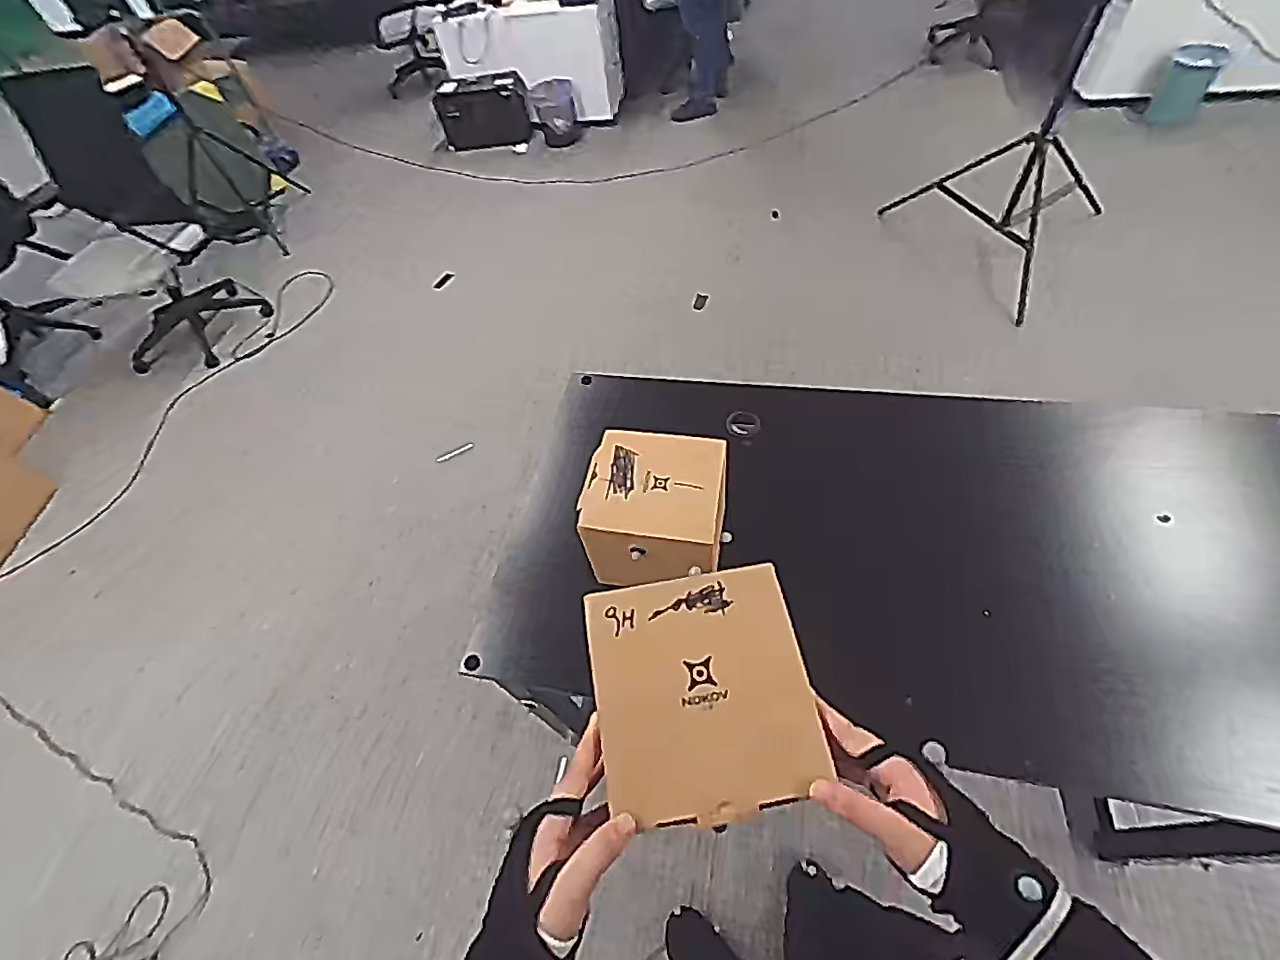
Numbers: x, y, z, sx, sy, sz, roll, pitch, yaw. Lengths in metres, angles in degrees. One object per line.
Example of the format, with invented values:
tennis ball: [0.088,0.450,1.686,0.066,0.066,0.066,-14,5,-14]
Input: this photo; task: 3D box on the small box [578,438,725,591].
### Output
small box: [0.028,0.059,0.789,0.179,0.176,0.168,6,56,11]

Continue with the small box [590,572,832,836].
small box: [0.053,0.203,0.500,0.168,0.176,0.179,-9,62,-2]
